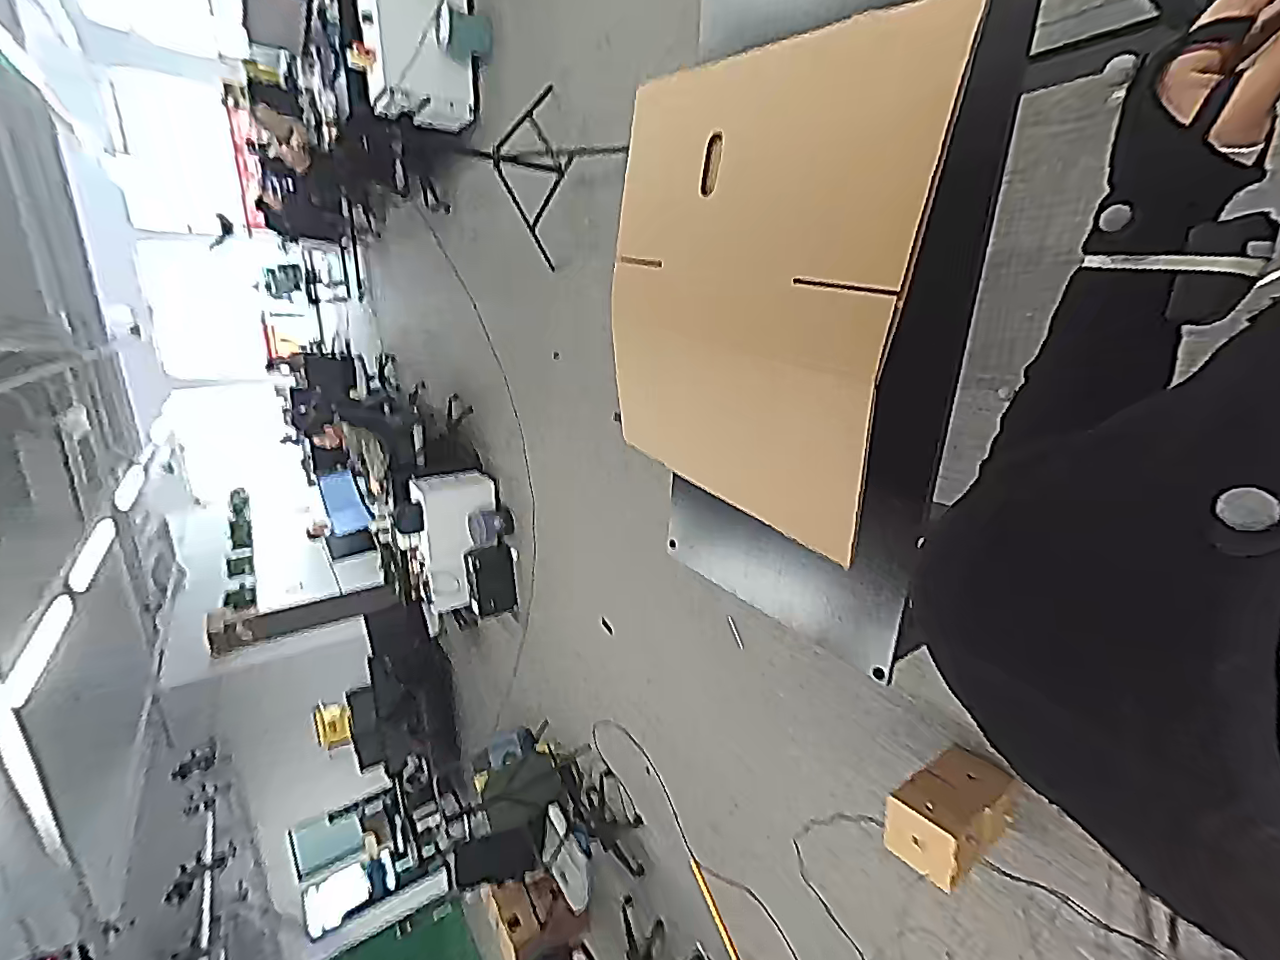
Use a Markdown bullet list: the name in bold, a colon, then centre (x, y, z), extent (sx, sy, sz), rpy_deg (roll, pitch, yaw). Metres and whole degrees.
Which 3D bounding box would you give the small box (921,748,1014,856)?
- **small box**: centre (0.904, 0.886, 1.512), extent (0.179, 0.176, 0.168), rpy_deg (20, 115, 51)

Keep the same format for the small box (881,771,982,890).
- **small box**: centre (0.769, 0.910, 1.426), extent (0.179, 0.176, 0.168), rpy_deg (16, 111, 54)
